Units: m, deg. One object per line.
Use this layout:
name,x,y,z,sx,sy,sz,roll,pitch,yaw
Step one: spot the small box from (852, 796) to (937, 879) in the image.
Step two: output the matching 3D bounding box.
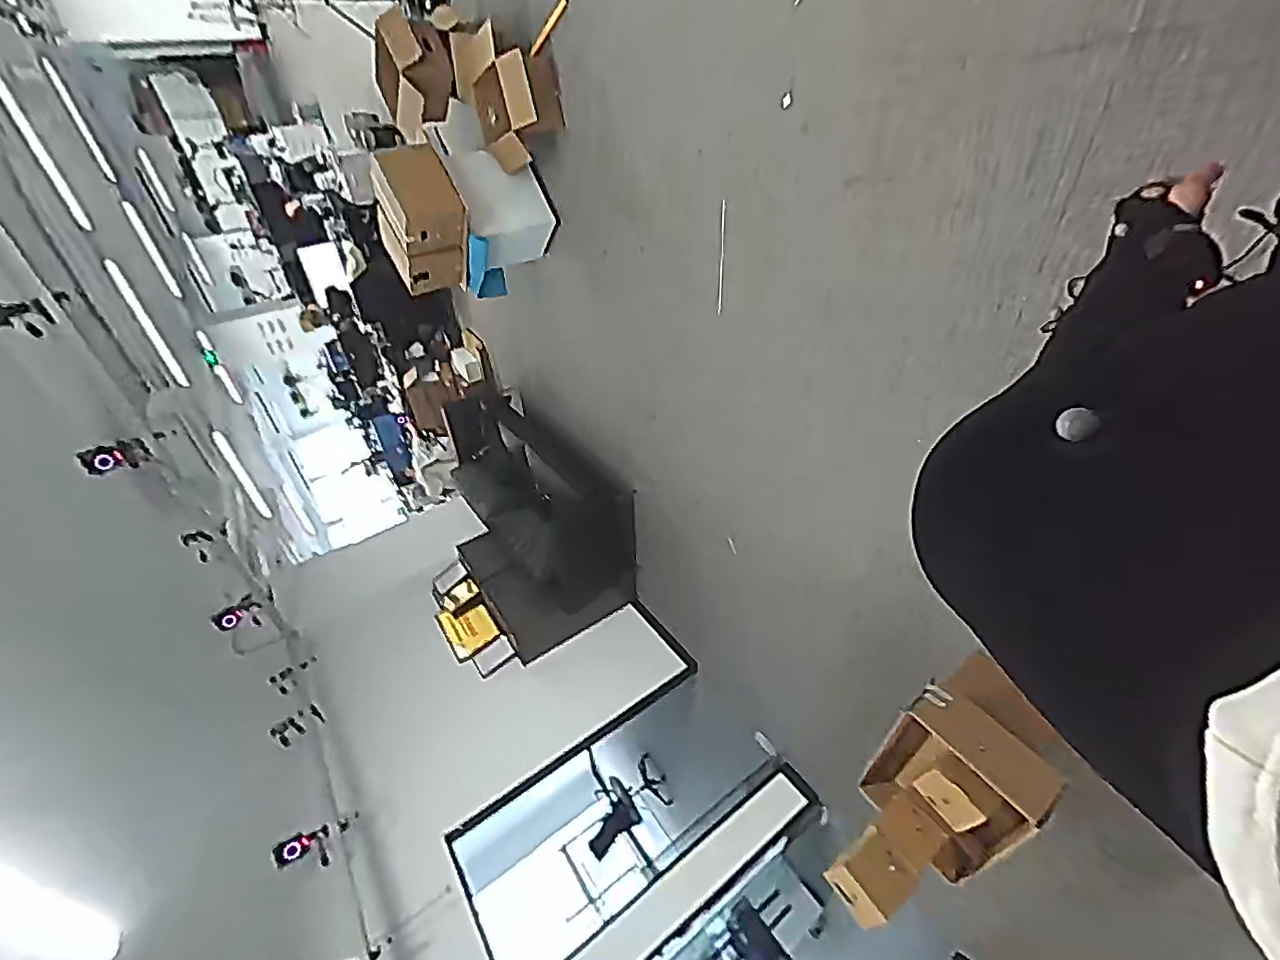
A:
small box,0.804,1.154,1.718,0.168,0.176,0.179,42,143,40

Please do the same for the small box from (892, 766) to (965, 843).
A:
small box,0.936,1.098,1.793,0.168,0.176,0.179,42,143,38

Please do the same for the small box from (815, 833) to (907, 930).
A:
small box,0.672,1.218,1.642,0.168,0.176,0.179,48,147,31
